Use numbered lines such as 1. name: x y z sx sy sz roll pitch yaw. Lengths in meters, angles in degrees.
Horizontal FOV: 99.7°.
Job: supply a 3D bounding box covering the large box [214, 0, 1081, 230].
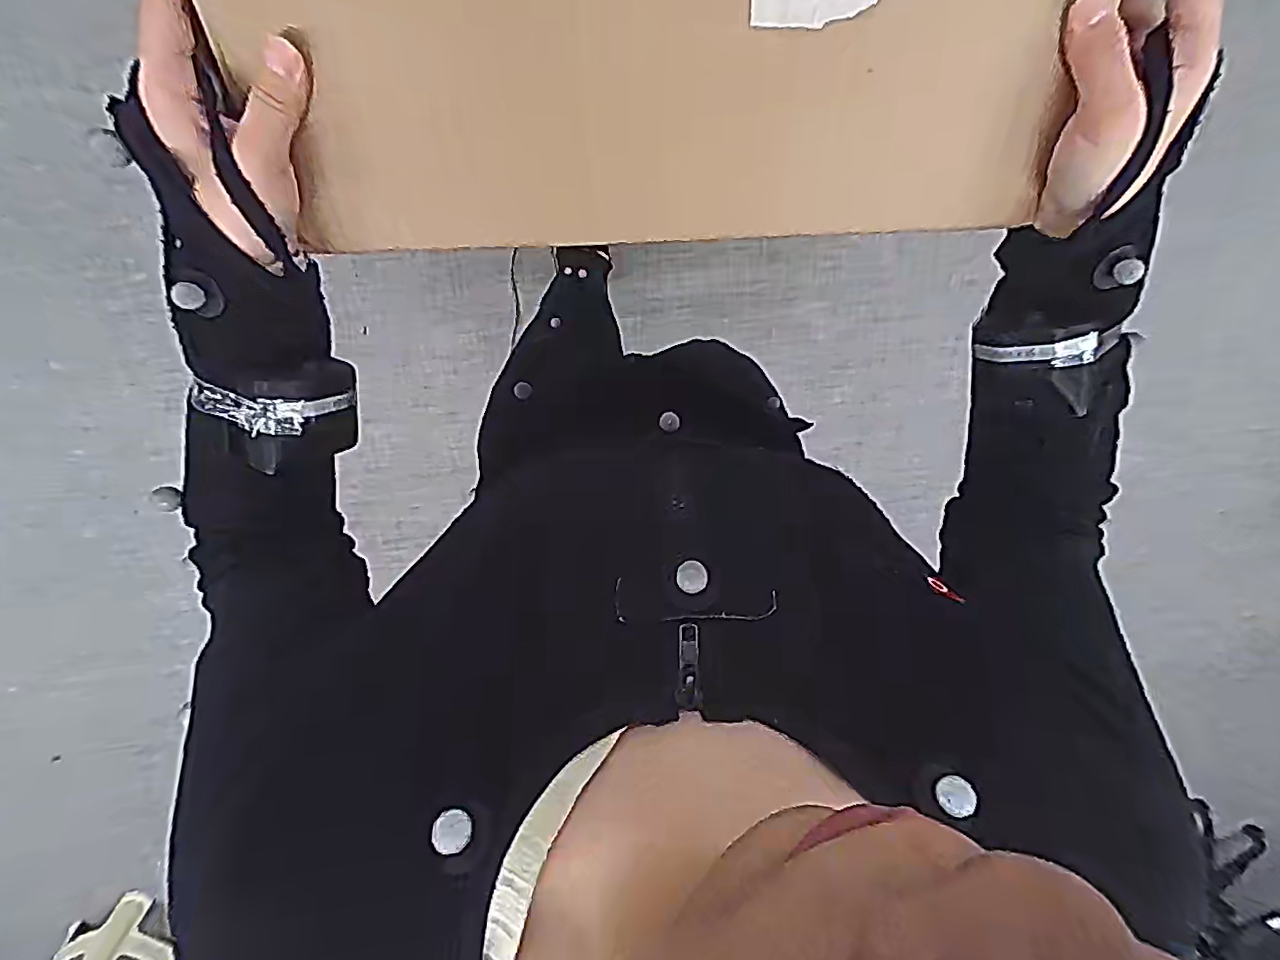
1. large box: -0.002 -0.362 0.325 0.408 0.320 0.320 -3 129 0
